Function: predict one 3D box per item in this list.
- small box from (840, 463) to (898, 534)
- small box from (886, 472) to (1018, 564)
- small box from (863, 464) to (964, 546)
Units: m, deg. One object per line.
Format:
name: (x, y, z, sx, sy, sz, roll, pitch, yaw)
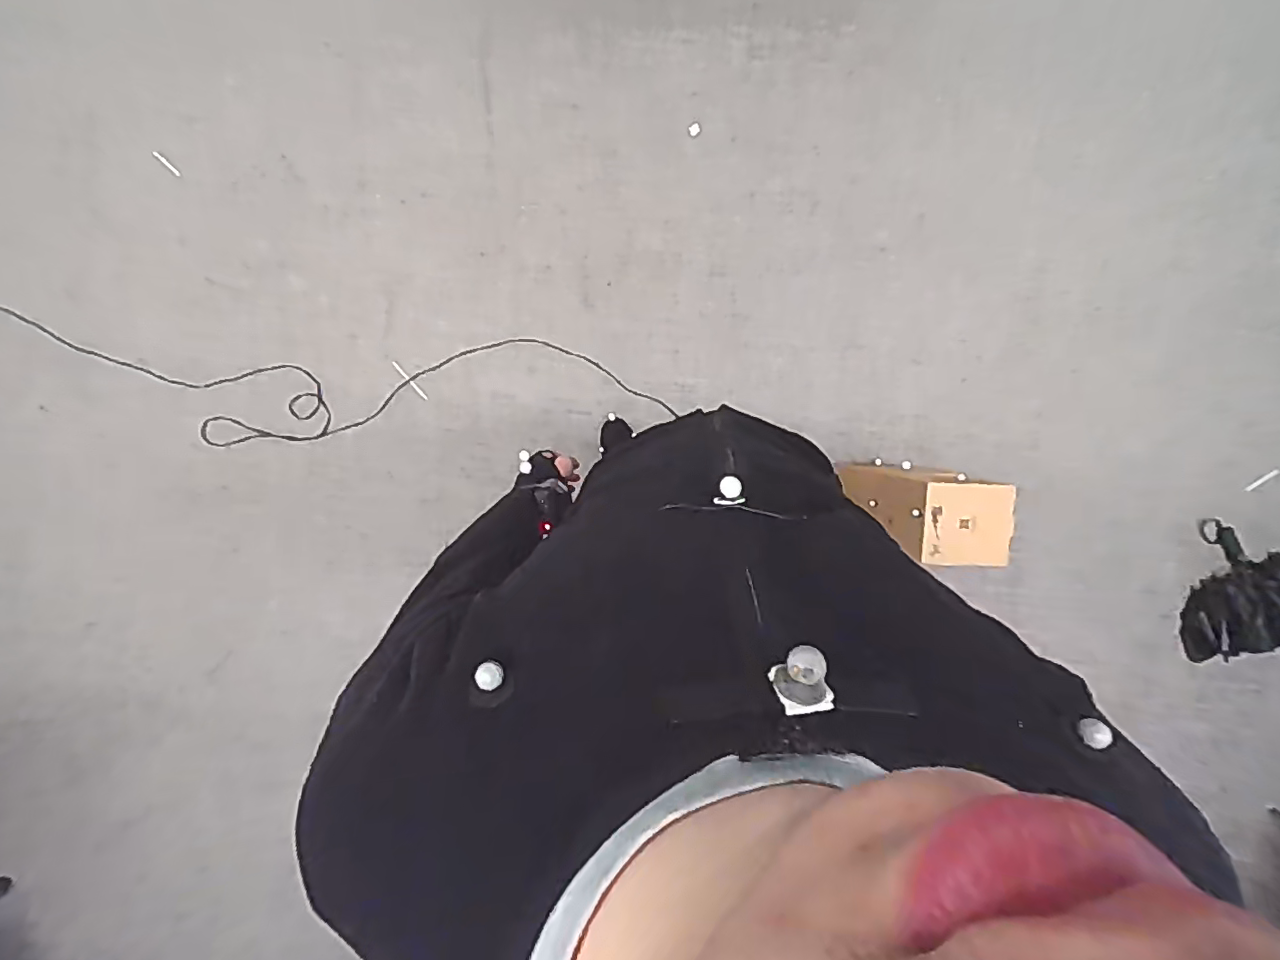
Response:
small box: (0.655, 0.046, 1.472, 0.168, 0.176, 0.179, 0, 95, 1)
small box: (0.650, 0.074, 1.145, 0.179, 0.176, 0.168, 2, 96, 0)
small box: (0.653, 0.057, 1.307, 0.168, 0.176, 0.179, 0, 96, 1)
